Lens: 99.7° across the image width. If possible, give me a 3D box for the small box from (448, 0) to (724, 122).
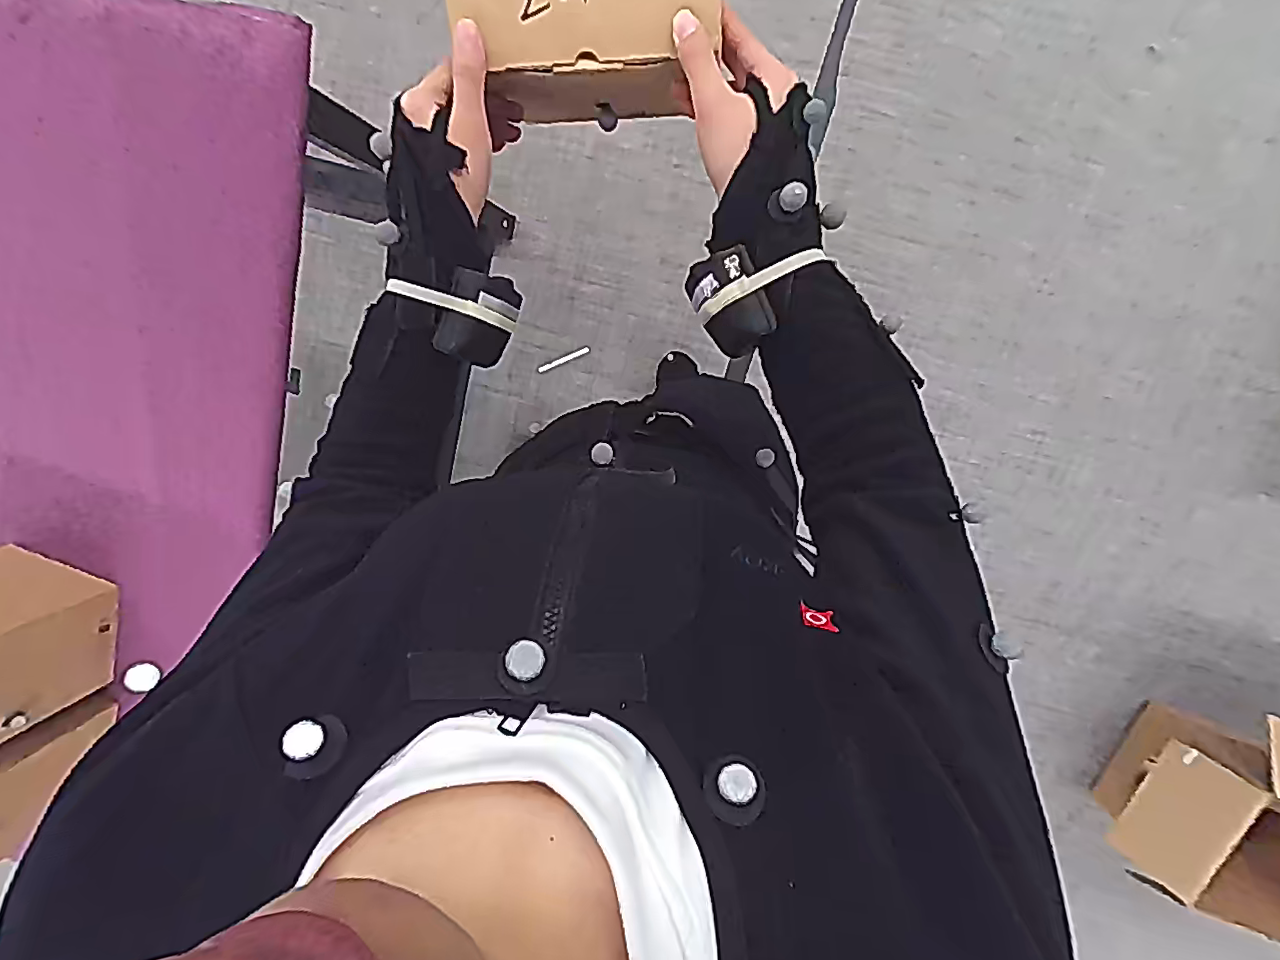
[{"bbox_3d":[-0.029,-0.366,0.369,0.168,0.176,0.179,0,114,4],"label":"small box"}]
